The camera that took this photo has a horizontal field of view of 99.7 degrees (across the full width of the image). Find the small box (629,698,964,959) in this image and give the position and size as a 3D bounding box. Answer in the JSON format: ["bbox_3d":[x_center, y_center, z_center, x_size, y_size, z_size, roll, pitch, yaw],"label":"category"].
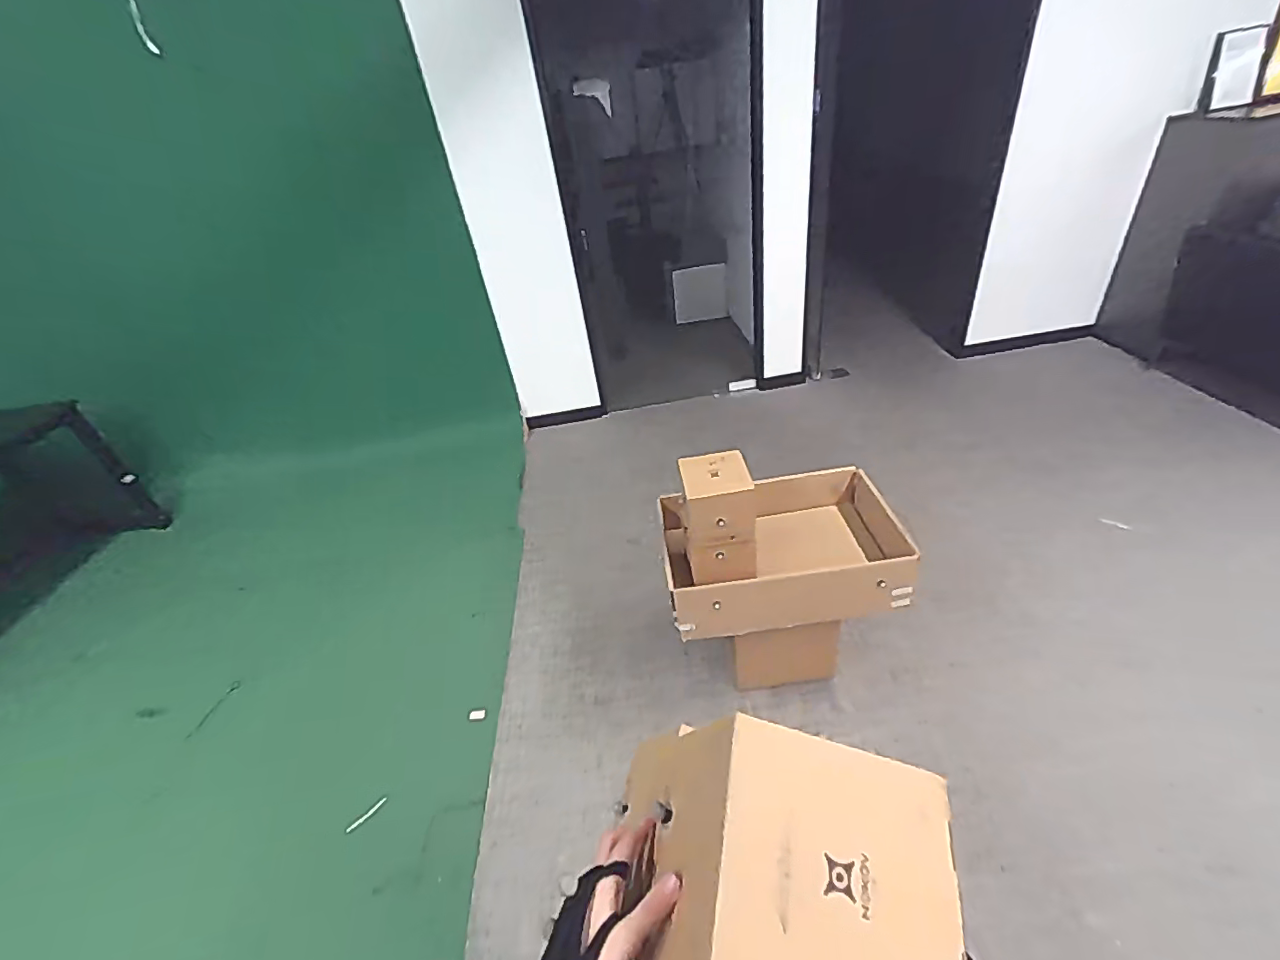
[{"bbox_3d":[0.108,0.289,0.415,0.179,0.176,0.168,19,54,-5],"label":"small box"}]

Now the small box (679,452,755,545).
[{"bbox_3d":[0.199,0.054,1.391,0.168,0.176,0.179,-9,35,2],"label":"small box"}]
